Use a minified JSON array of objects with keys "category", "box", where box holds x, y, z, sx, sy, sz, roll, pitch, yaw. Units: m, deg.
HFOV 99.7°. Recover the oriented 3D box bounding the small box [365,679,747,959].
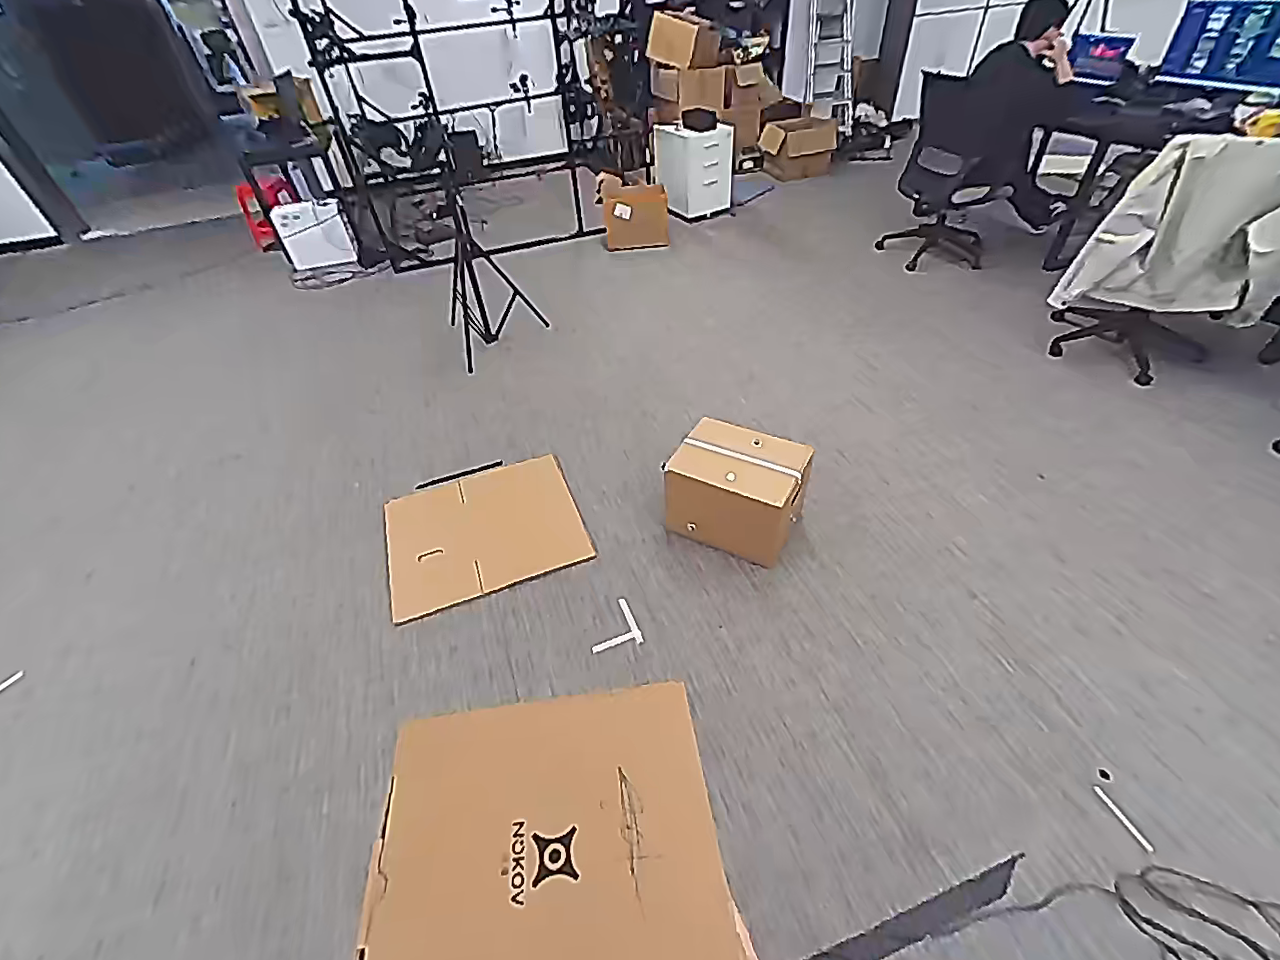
[{"category":"small box","box":[-0.042,0.249,0.330,0.179,0.176,0.168,-7,44,-6]}]
